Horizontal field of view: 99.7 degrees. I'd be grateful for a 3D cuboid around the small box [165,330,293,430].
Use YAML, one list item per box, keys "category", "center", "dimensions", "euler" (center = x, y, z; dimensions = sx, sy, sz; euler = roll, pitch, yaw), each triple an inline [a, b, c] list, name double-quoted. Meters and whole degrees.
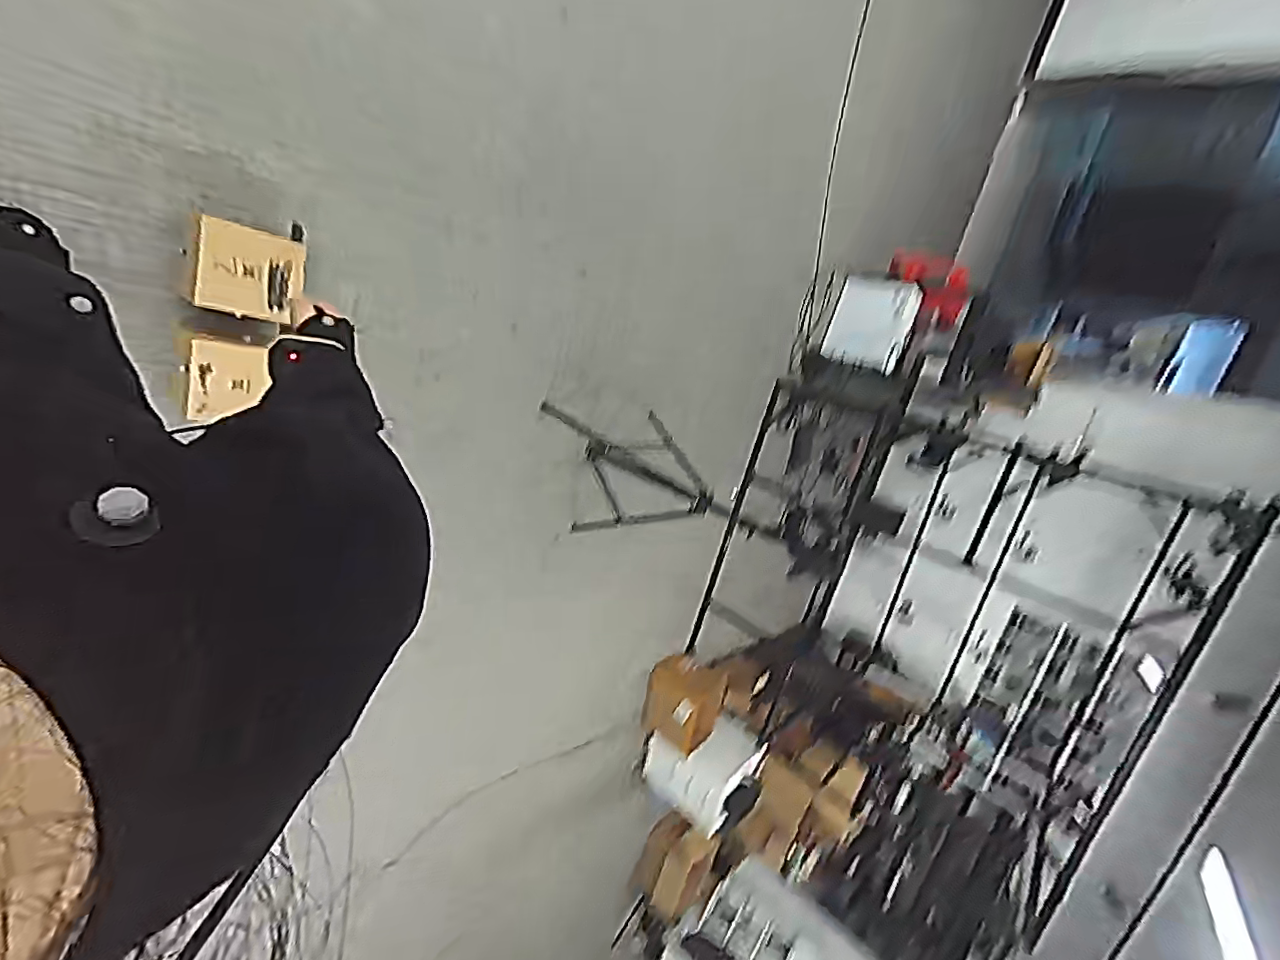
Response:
- category: "small box"
  center: [-0.889, -0.216, 1.169]
  dimensions: [0.179, 0.176, 0.168]
  euler: [0, 110, -51]
